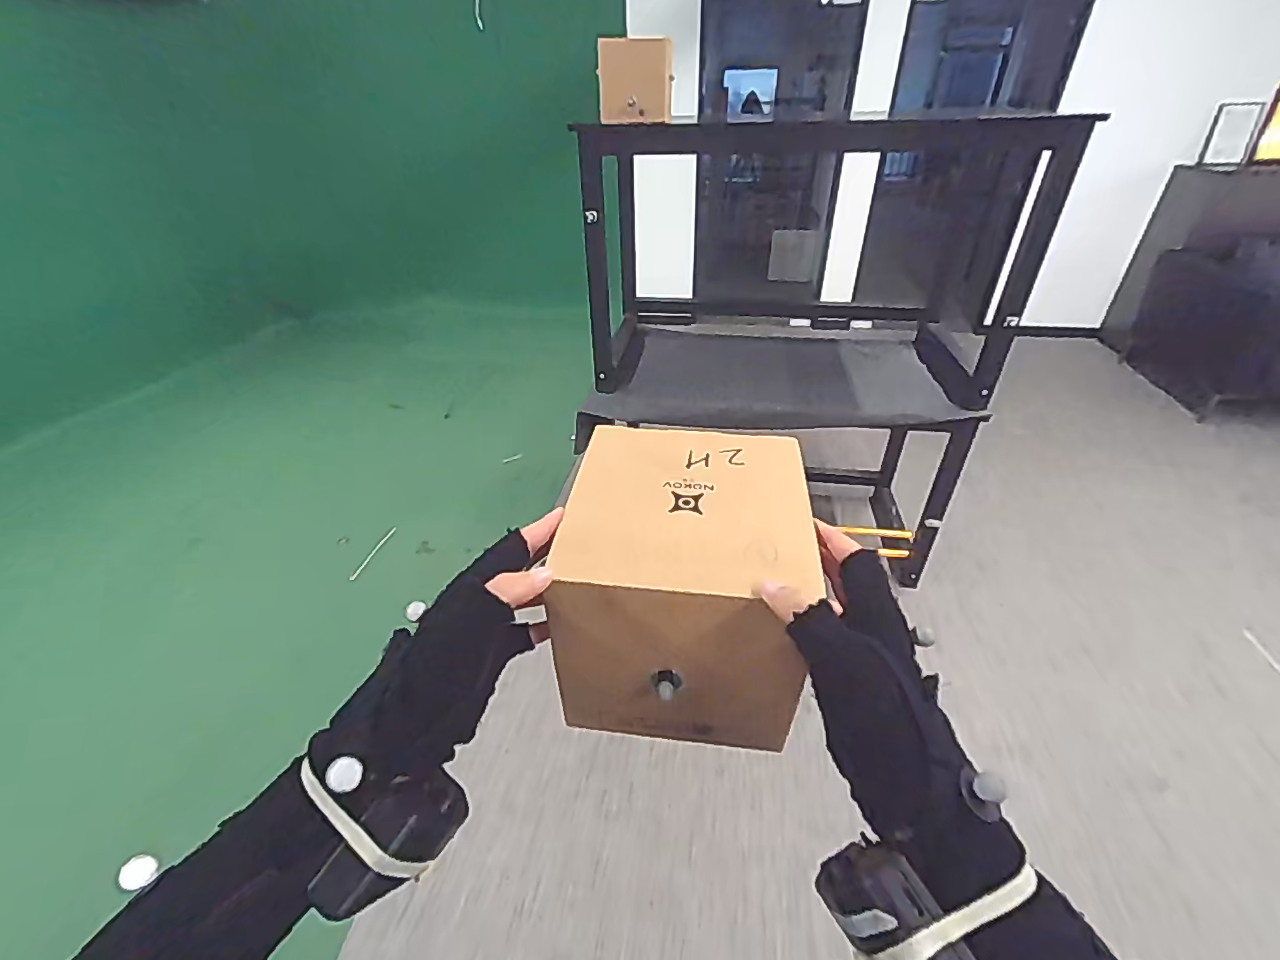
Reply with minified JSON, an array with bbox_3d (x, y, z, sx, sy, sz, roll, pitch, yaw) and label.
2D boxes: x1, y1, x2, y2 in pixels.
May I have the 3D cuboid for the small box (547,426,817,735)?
[{"bbox_3d":[0.035,0.076,0.433,0.168,0.176,0.179,5,36,6],"label":"small box"}]
